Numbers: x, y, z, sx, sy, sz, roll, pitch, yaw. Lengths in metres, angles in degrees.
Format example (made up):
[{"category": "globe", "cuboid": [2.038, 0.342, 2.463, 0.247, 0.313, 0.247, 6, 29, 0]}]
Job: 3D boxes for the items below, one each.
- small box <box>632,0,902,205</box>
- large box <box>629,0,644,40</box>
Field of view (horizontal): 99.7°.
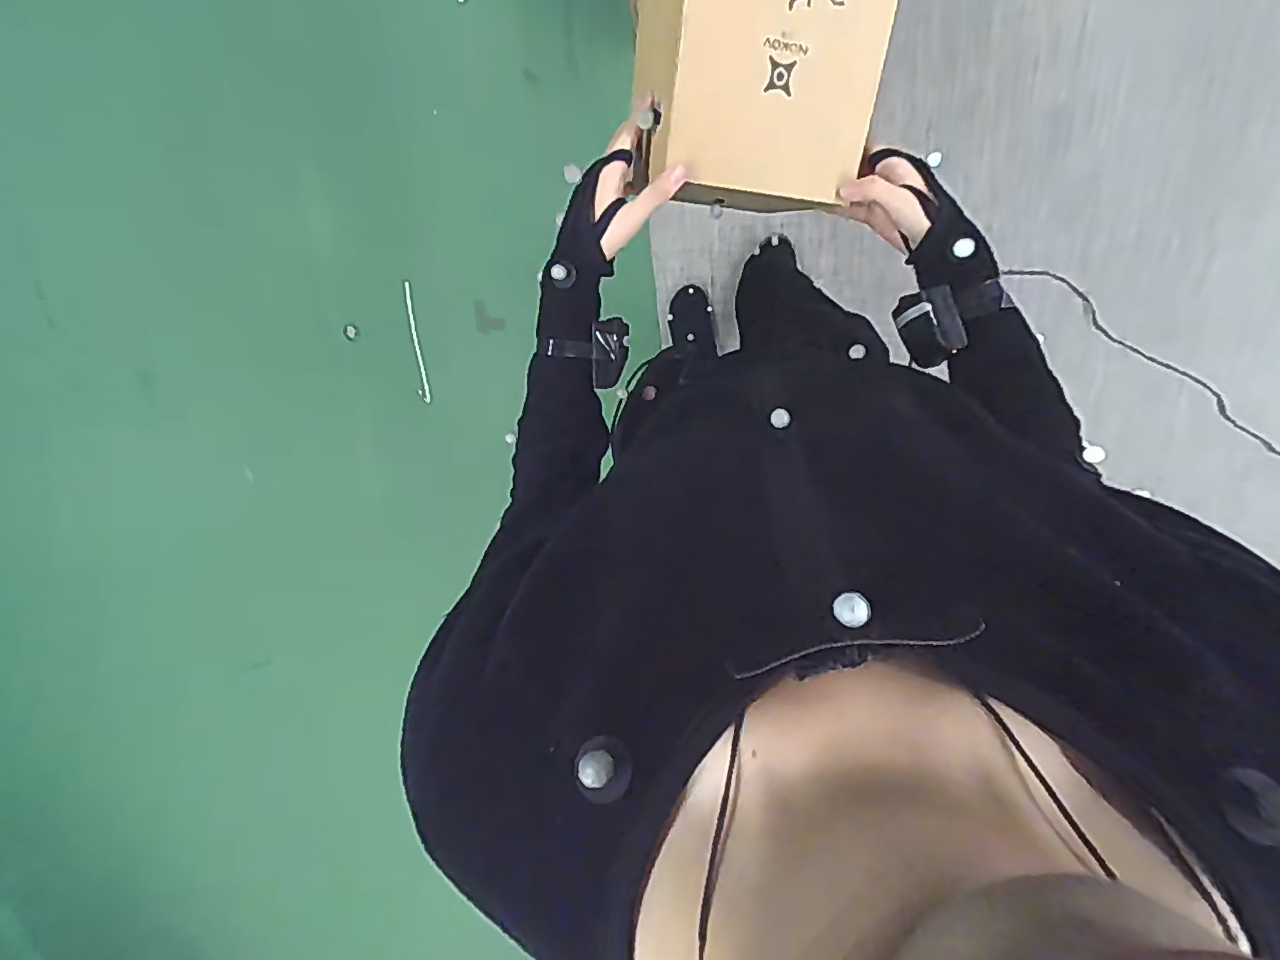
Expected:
[{"category": "small box", "cuboid": [0.092, -0.346, 0.468, 0.168, 0.176, 0.179, 0, 113, -14]}, {"category": "large box", "cuboid": [0.138, -1.105, 0.995, 0.408, 0.320, 0.320, -16, 107, 10]}]
